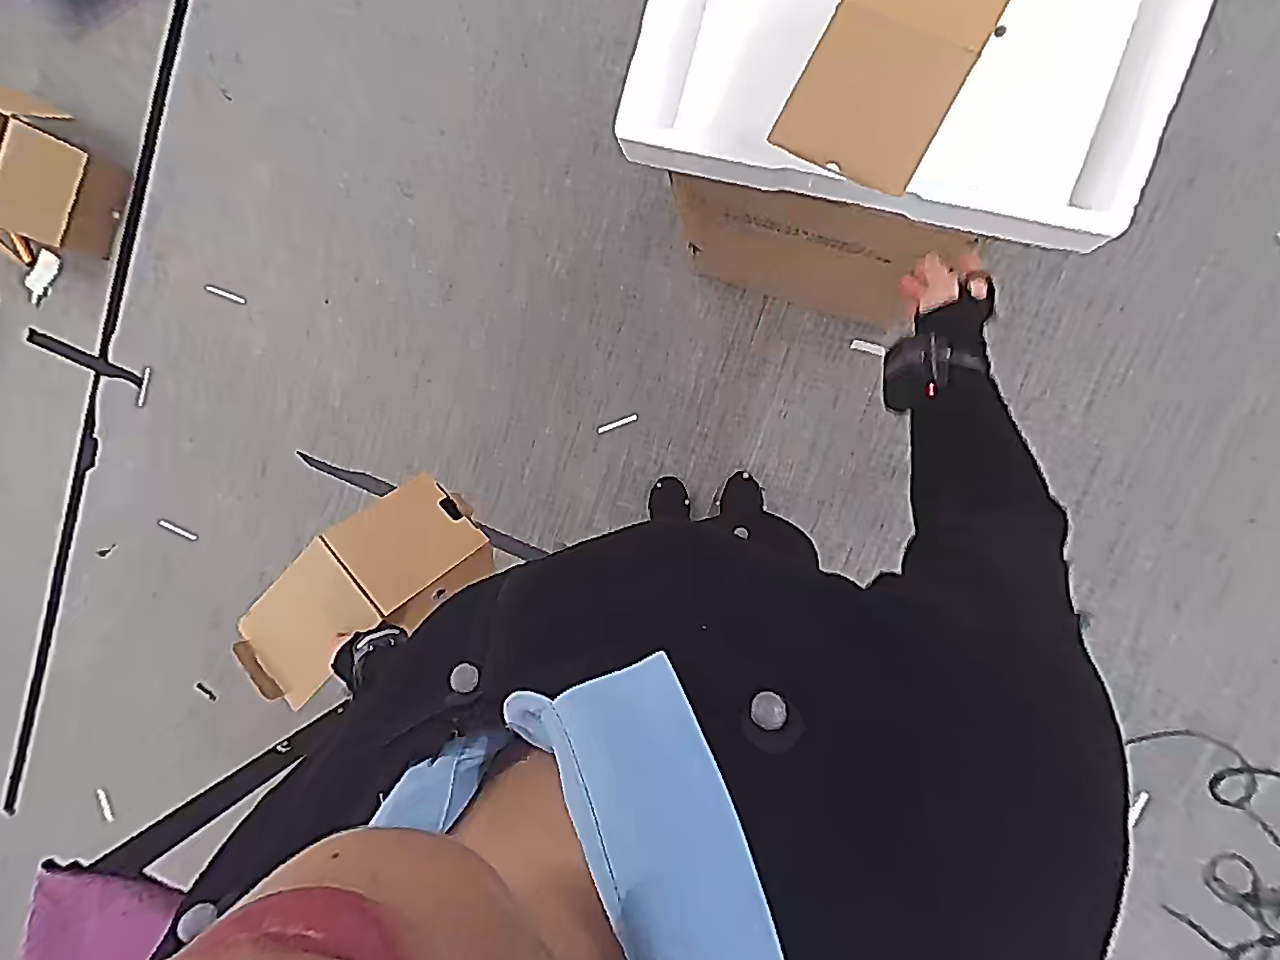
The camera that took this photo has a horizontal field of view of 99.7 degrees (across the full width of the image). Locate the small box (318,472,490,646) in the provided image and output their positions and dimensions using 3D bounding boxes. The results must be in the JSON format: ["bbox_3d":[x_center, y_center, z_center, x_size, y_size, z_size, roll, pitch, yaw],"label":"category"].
[{"bbox_3d":[-0.351,0.128,0.841,0.168,0.176,0.179,43,60,16],"label":"small box"}]
